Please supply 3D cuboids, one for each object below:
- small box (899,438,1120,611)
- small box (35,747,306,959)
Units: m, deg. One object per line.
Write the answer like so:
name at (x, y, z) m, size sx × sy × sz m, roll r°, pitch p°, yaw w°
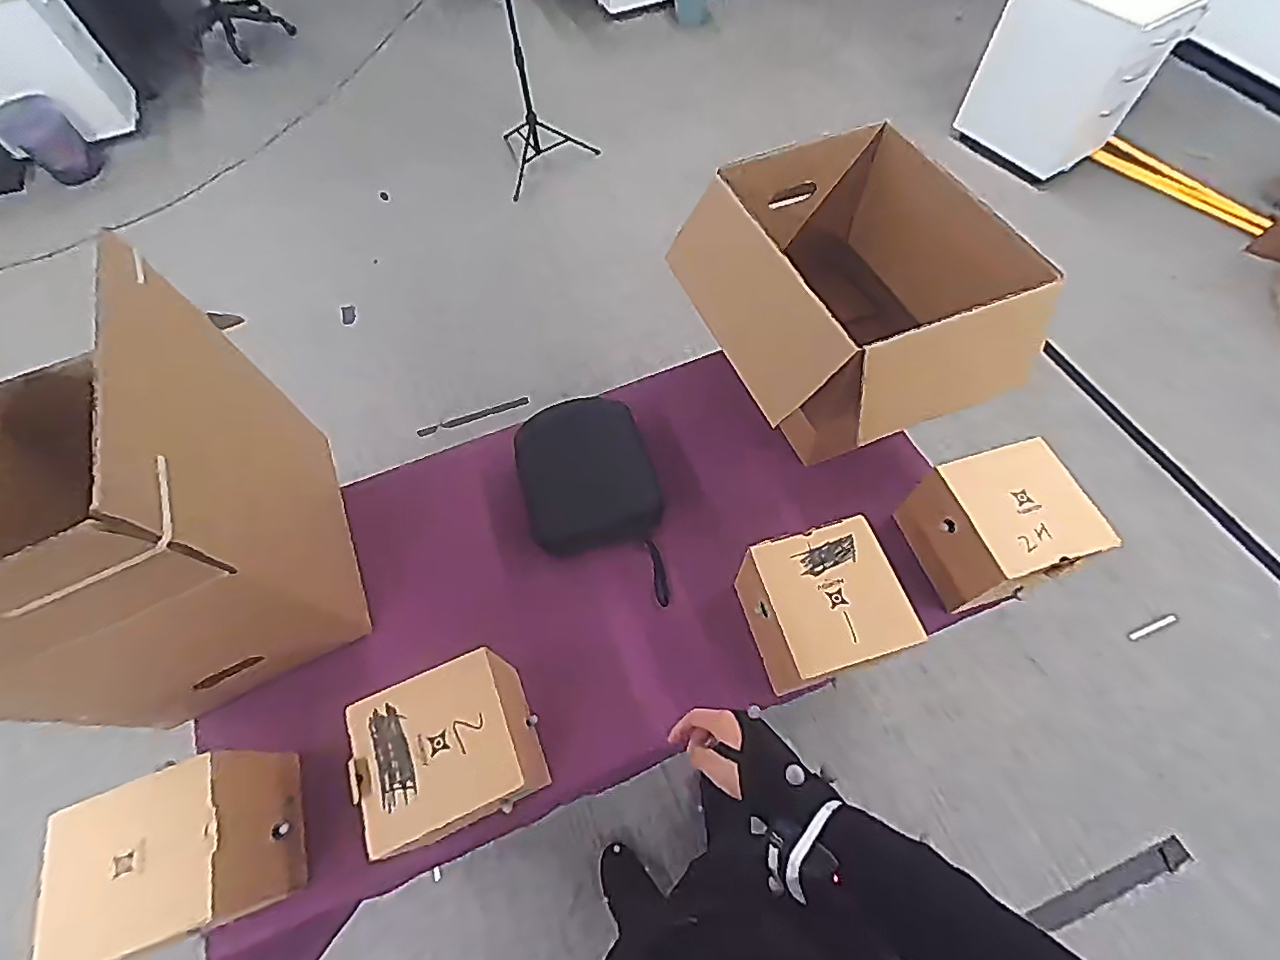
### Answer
small box at (0.514, 0.070, 0.789) m, size 0.168 × 0.176 × 0.179 m, roll -15°, pitch 62°, yaw -4°
small box at (-0.540, 0.442, 0.648) m, size 0.179 × 0.176 × 0.168 m, roll -20°, pitch 63°, yaw -9°
